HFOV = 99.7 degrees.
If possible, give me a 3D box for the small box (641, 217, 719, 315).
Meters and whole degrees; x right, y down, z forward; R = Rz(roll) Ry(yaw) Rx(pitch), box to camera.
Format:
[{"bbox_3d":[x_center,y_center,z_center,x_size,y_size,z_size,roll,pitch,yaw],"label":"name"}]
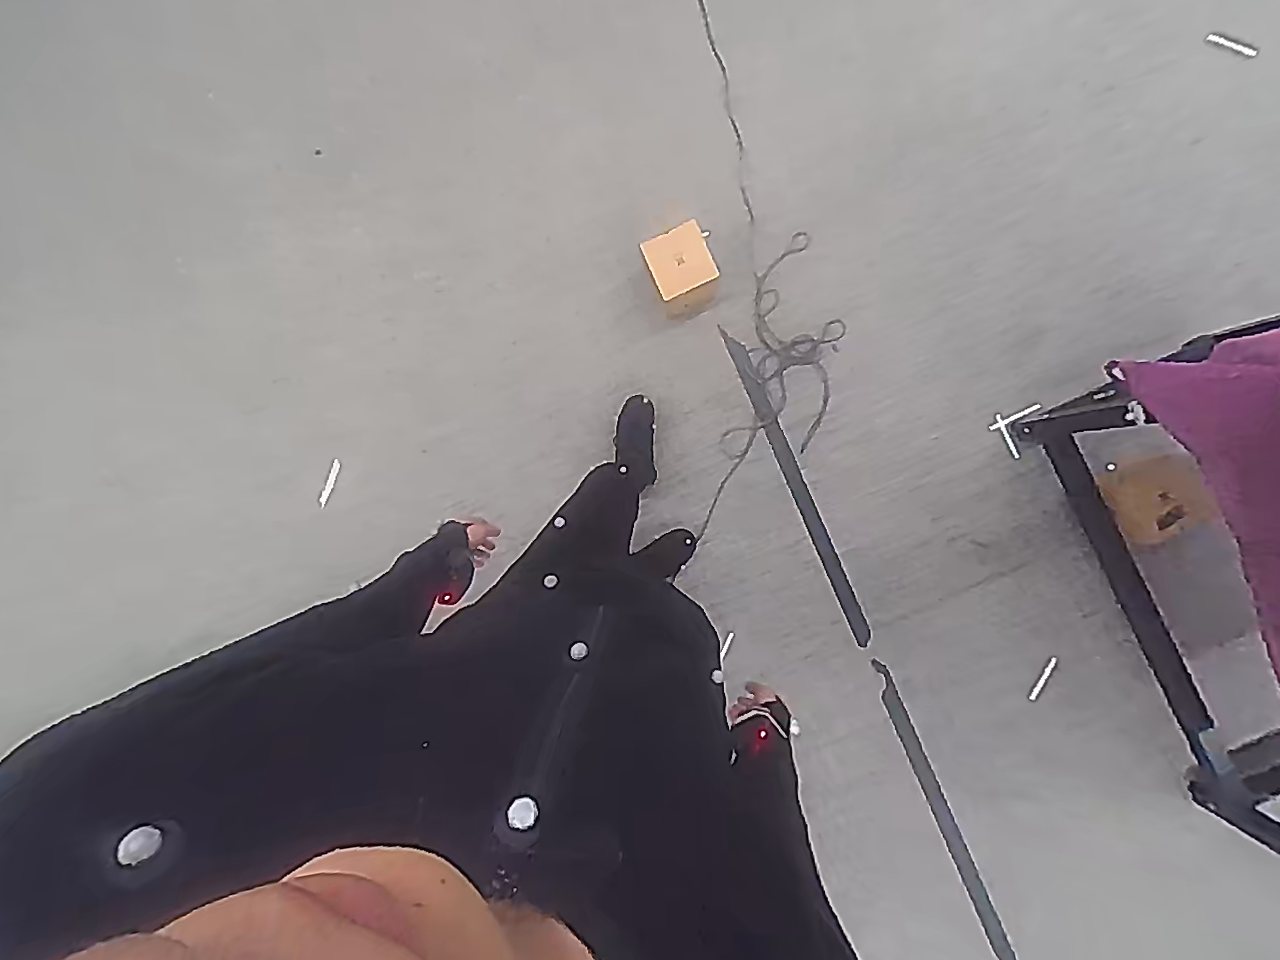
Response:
[{"bbox_3d":[0.111,-0.598,1.533,0.168,0.176,0.179,-24,89,4],"label":"small box"}]
